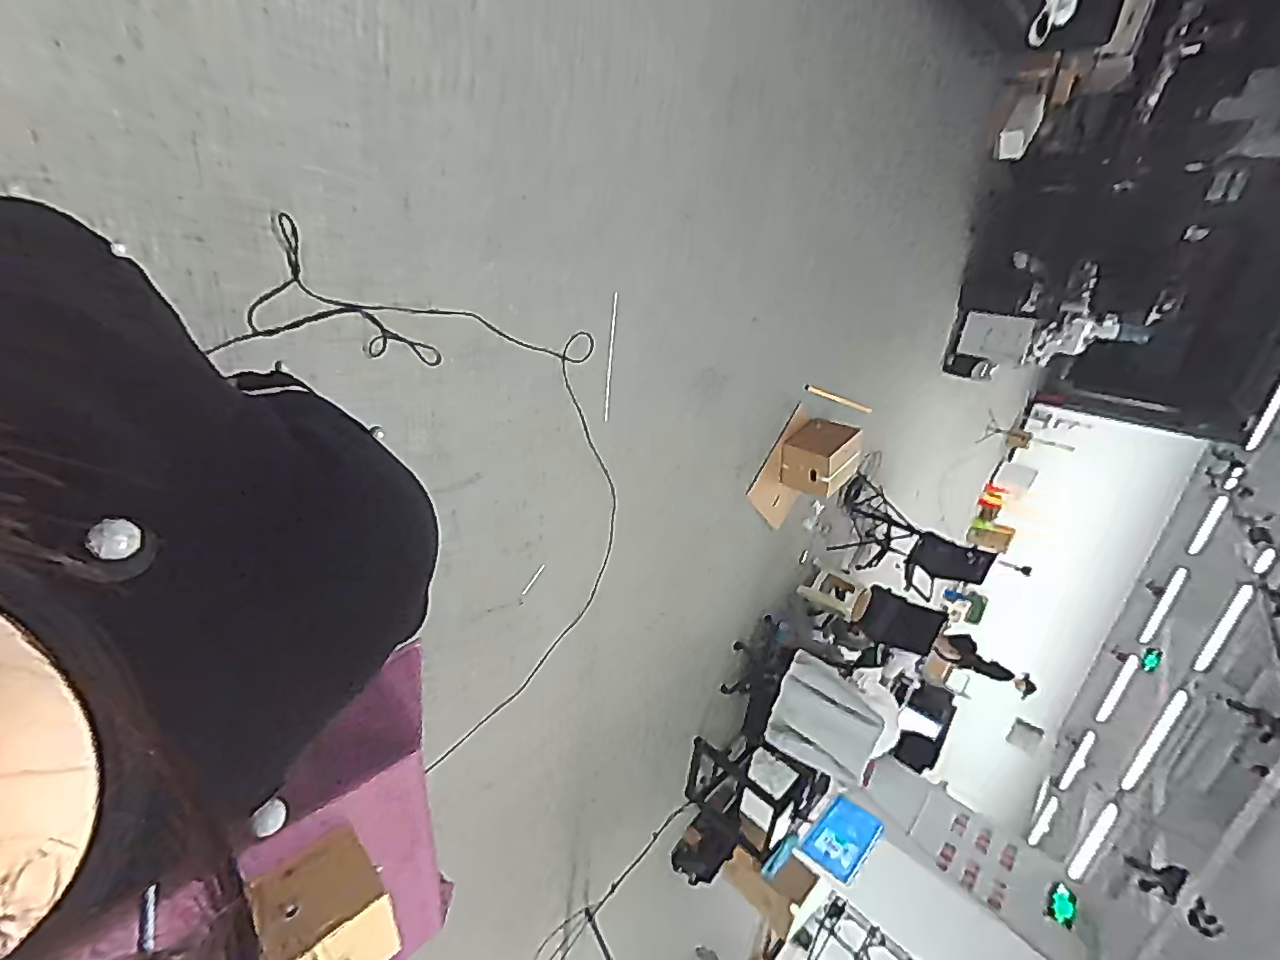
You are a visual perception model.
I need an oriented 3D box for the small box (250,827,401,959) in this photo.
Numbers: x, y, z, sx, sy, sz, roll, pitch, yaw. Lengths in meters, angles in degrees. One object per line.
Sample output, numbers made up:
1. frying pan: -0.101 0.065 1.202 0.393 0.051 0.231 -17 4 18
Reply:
1. small box: -0.530 0.736 0.915 0.168 0.176 0.179 -21 125 -41
